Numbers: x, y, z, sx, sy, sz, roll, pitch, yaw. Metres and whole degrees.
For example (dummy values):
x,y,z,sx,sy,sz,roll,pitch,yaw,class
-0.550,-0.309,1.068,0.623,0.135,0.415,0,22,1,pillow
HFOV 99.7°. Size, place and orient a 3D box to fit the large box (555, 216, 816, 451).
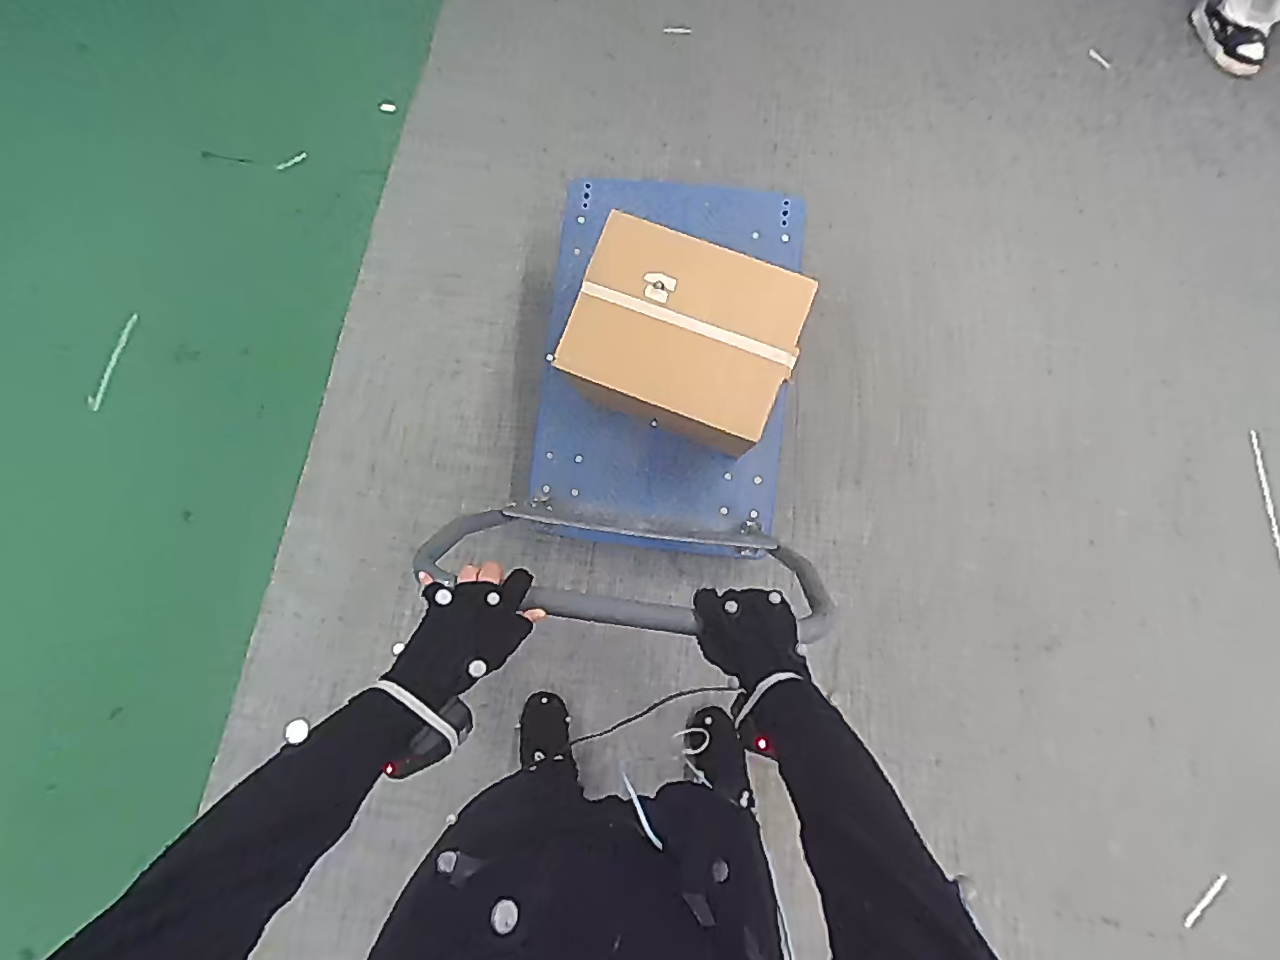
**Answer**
x,y,z,sx,sy,sz,roll,pitch,yaw,class
0.093,-0.274,1.124,0.408,0.320,0.320,21,89,5,large box
